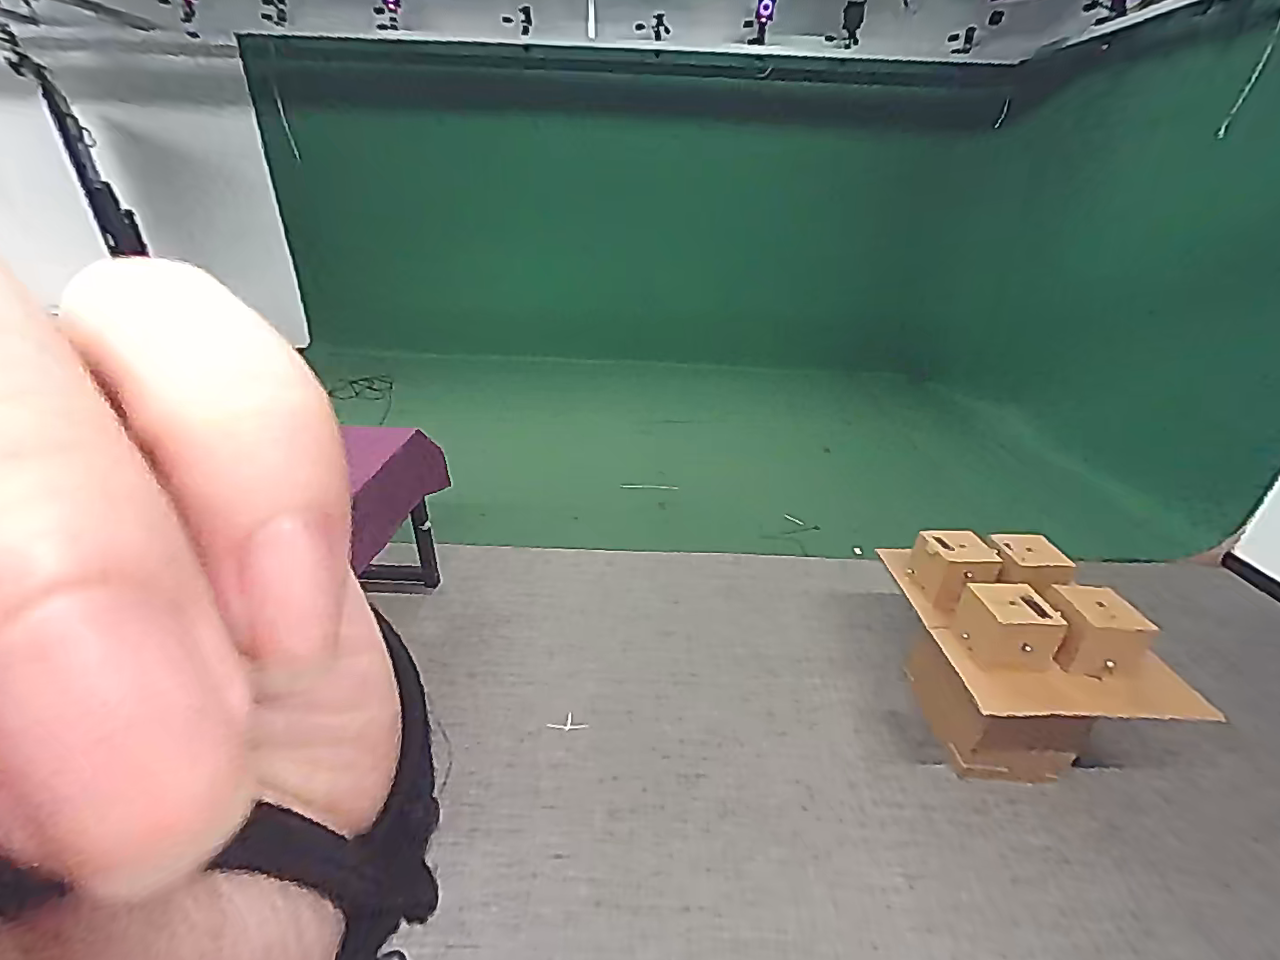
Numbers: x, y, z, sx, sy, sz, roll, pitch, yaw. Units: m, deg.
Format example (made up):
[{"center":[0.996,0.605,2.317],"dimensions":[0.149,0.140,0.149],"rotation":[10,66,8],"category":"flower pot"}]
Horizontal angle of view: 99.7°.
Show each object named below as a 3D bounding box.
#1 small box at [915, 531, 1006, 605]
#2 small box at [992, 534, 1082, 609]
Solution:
[{"center":[0.984,0.275,1.684],"dimensions":[0.179,0.176,0.168],"rotation":[0,28,-4],"category":"small box"},{"center":[1.199,0.284,1.675],"dimensions":[0.179,0.176,0.168],"rotation":[2,26,-2],"category":"small box"}]
